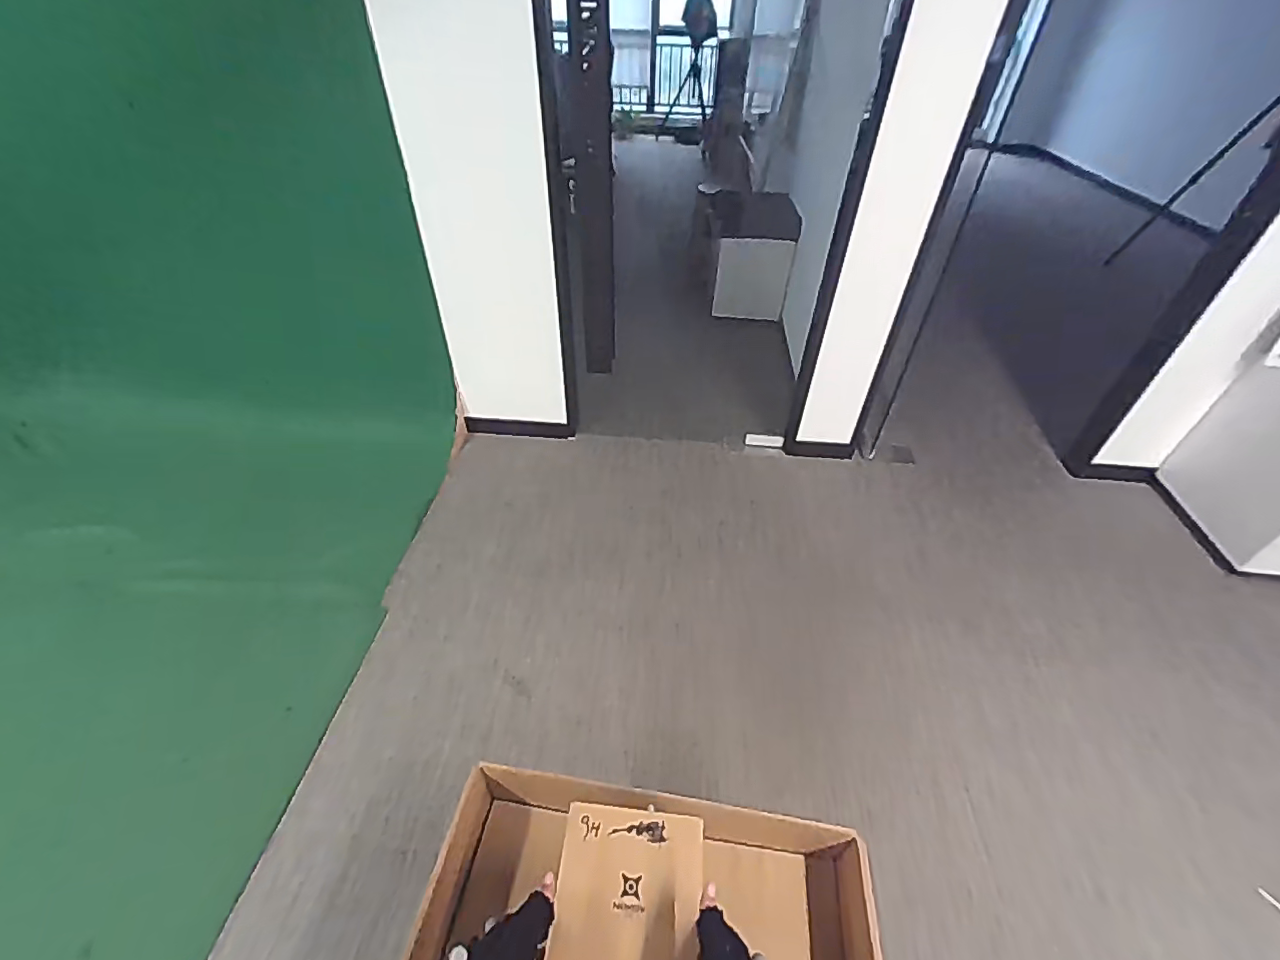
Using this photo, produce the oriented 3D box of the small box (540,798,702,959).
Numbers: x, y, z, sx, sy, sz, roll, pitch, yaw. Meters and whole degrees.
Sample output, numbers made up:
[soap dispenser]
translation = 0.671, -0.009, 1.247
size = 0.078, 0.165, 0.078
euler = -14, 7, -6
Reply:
[small box]
translation = -0.019, 0.516, 0.652
size = 0.168, 0.176, 0.179
euler = 7, 43, 1
